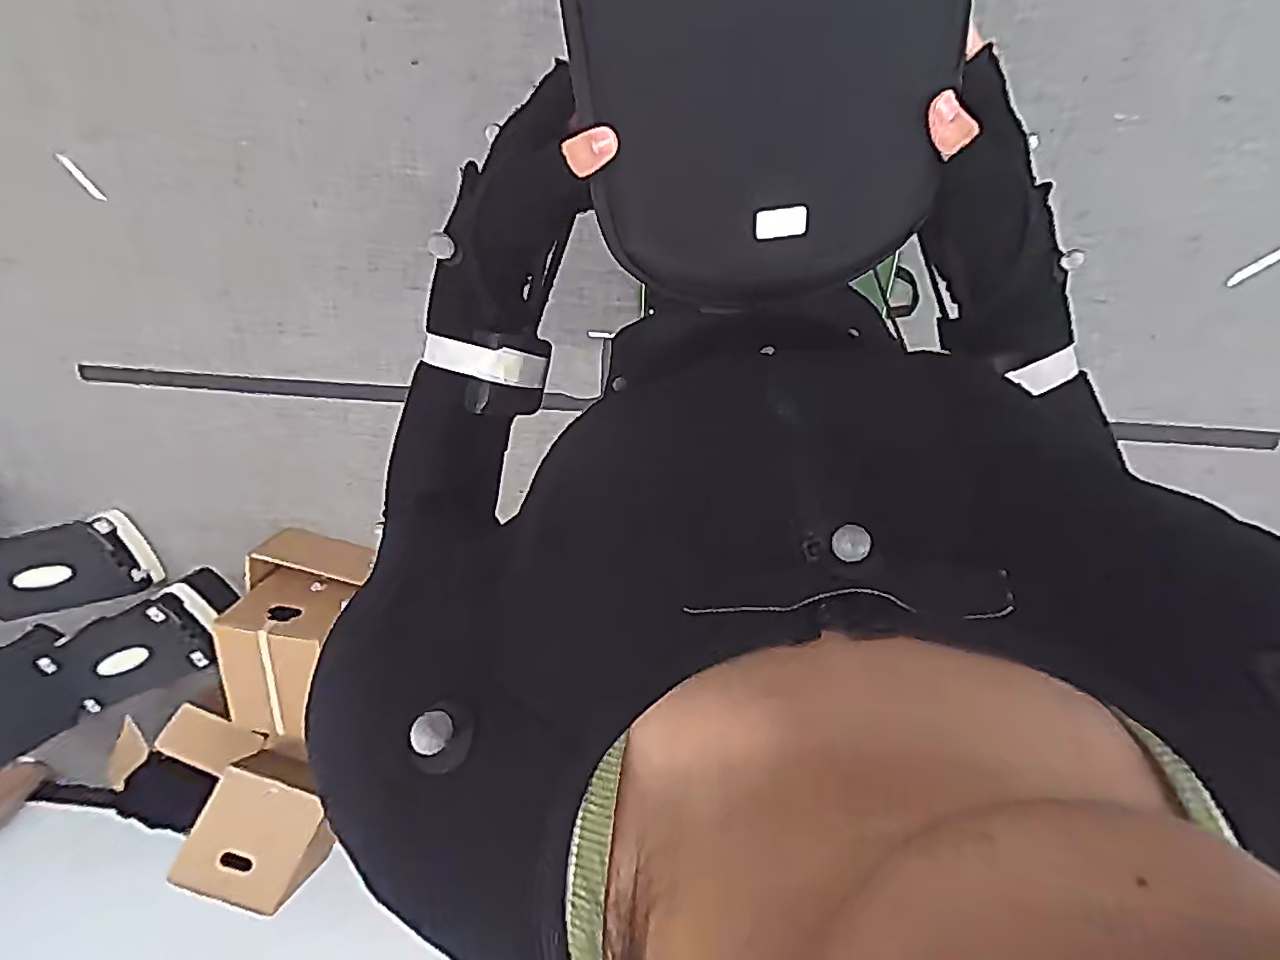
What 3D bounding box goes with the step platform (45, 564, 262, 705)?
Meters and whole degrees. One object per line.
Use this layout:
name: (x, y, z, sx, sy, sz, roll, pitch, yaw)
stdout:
step platform: (-1.713, 0.551, 1.904, 0.684, 0.204, 0.286, -24, 110, 14)
